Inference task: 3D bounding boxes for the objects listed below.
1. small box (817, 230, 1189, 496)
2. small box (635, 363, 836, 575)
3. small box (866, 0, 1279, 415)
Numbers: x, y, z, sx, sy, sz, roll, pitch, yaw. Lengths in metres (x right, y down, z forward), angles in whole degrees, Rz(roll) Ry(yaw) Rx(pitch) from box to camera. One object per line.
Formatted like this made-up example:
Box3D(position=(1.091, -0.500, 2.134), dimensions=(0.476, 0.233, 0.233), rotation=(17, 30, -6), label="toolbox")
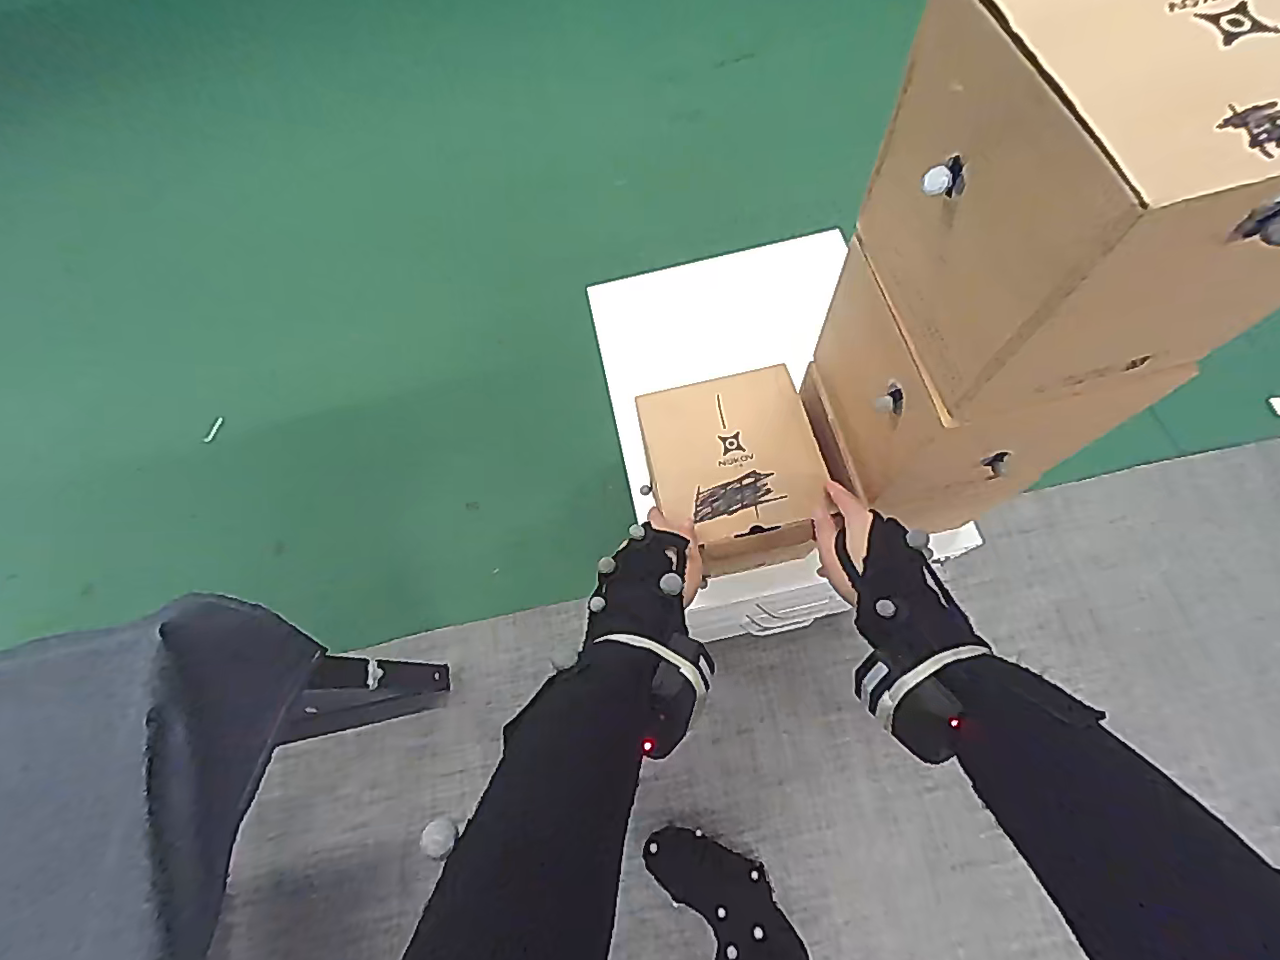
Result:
Box3D(position=(0.266, -0.097, 0.452), dimensions=(0.168, 0.176, 0.179), rotation=(-11, 68, 1), label="small box")
Box3D(position=(0.095, 0.001, 0.607), dimensions=(0.168, 0.176, 0.179), rotation=(-12, 67, -1), label="small box")
Box3D(position=(0.253, -0.164, 0.303), dimensions=(0.168, 0.176, 0.179), rotation=(-14, 67, 1), label="small box")
